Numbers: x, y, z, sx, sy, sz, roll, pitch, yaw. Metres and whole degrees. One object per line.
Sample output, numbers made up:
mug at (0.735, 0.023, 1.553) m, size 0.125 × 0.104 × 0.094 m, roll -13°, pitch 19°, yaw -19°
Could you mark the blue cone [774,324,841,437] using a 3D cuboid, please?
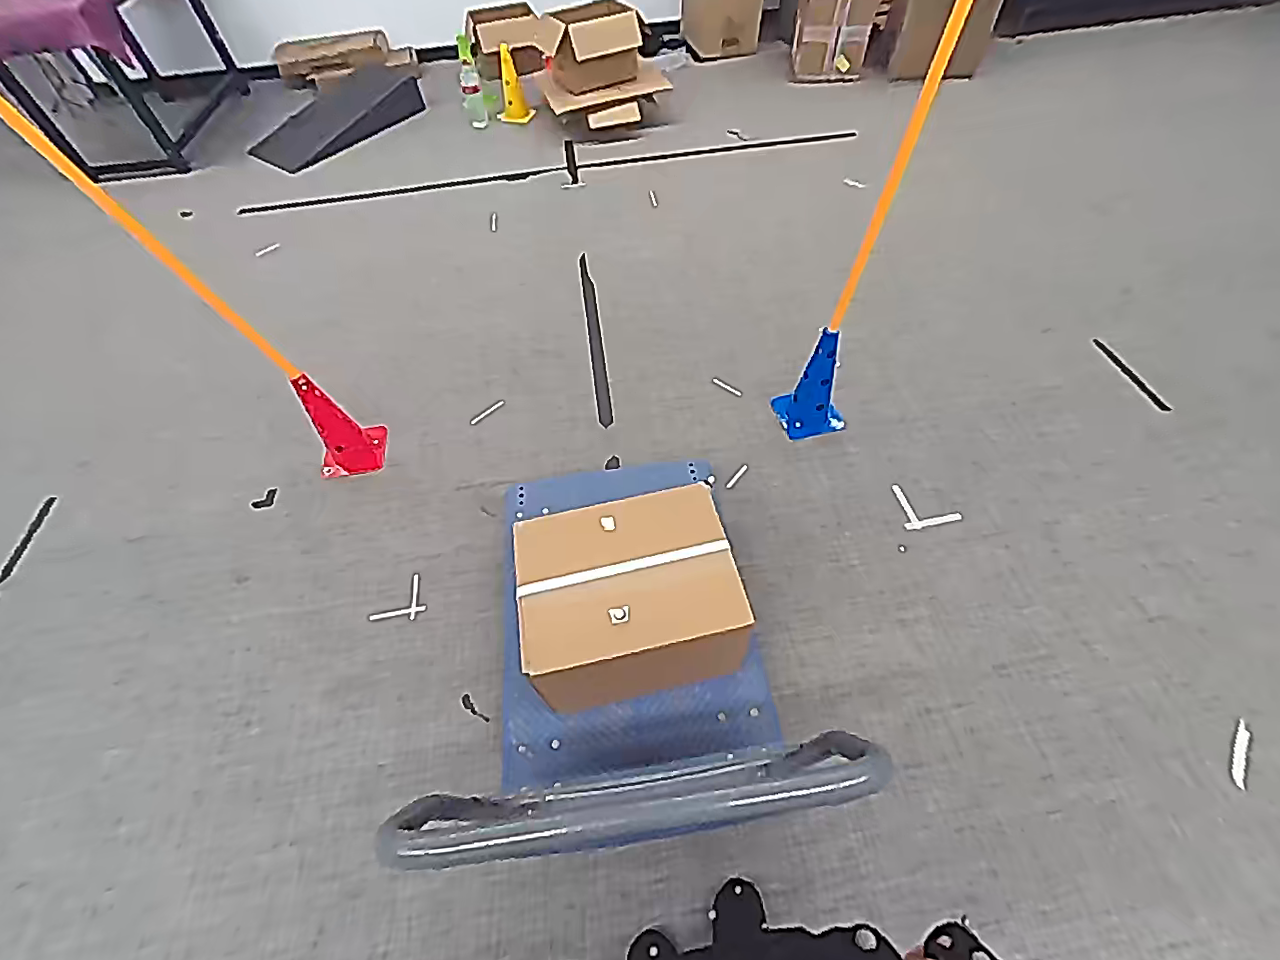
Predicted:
blue cone at (0.567, -0.324, 1.717) m, size 0.193 × 0.380 × 0.192 m, roll -12°, pitch 54°, yaw -5°
